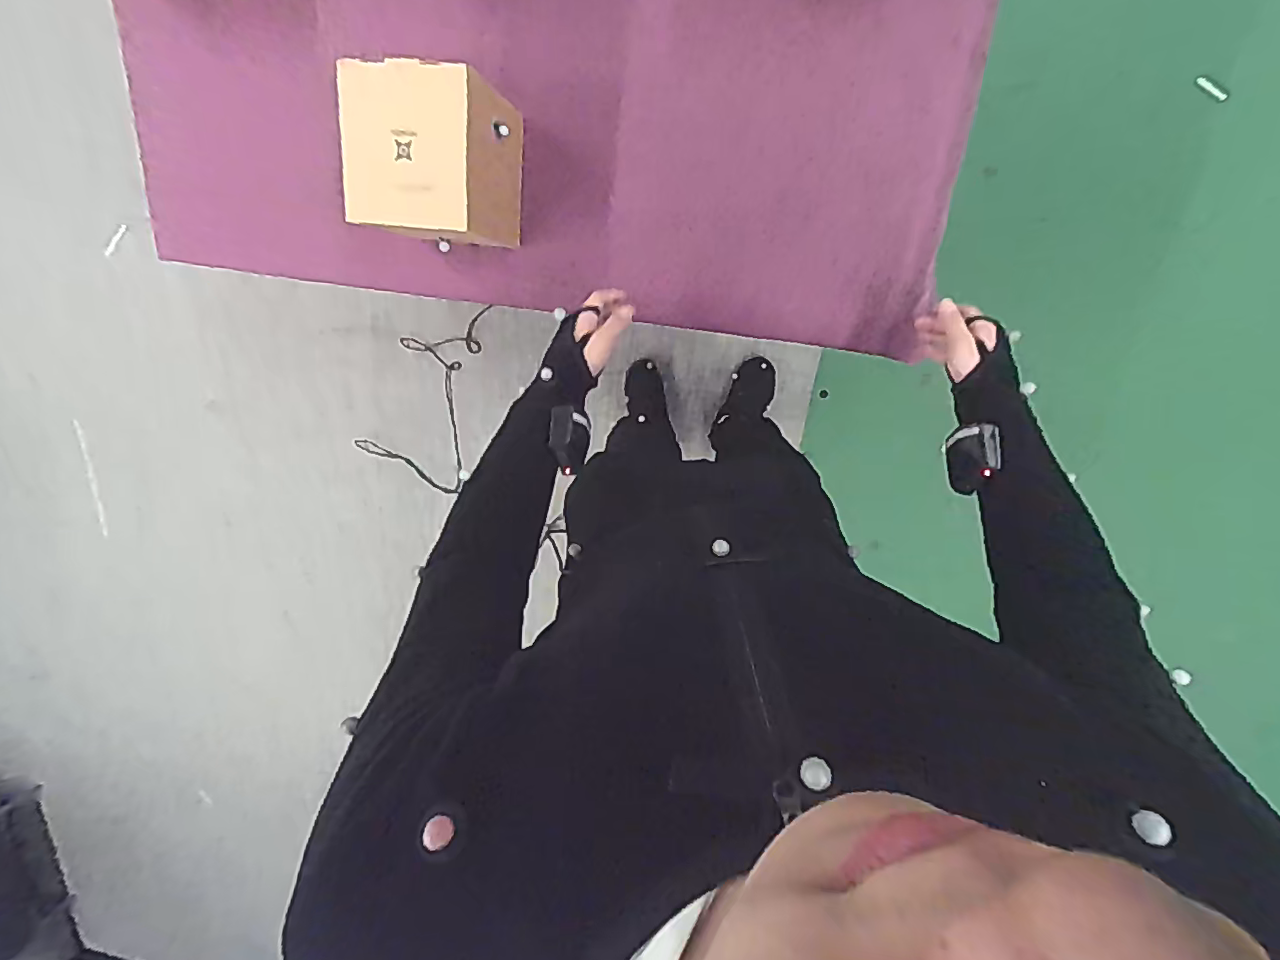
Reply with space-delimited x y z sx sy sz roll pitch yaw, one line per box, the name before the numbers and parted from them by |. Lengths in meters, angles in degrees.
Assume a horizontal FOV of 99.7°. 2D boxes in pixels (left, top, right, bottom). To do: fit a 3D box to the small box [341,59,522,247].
small box | -0.269 -0.425 0.728 0.168 0.176 0.179 10 109 9
